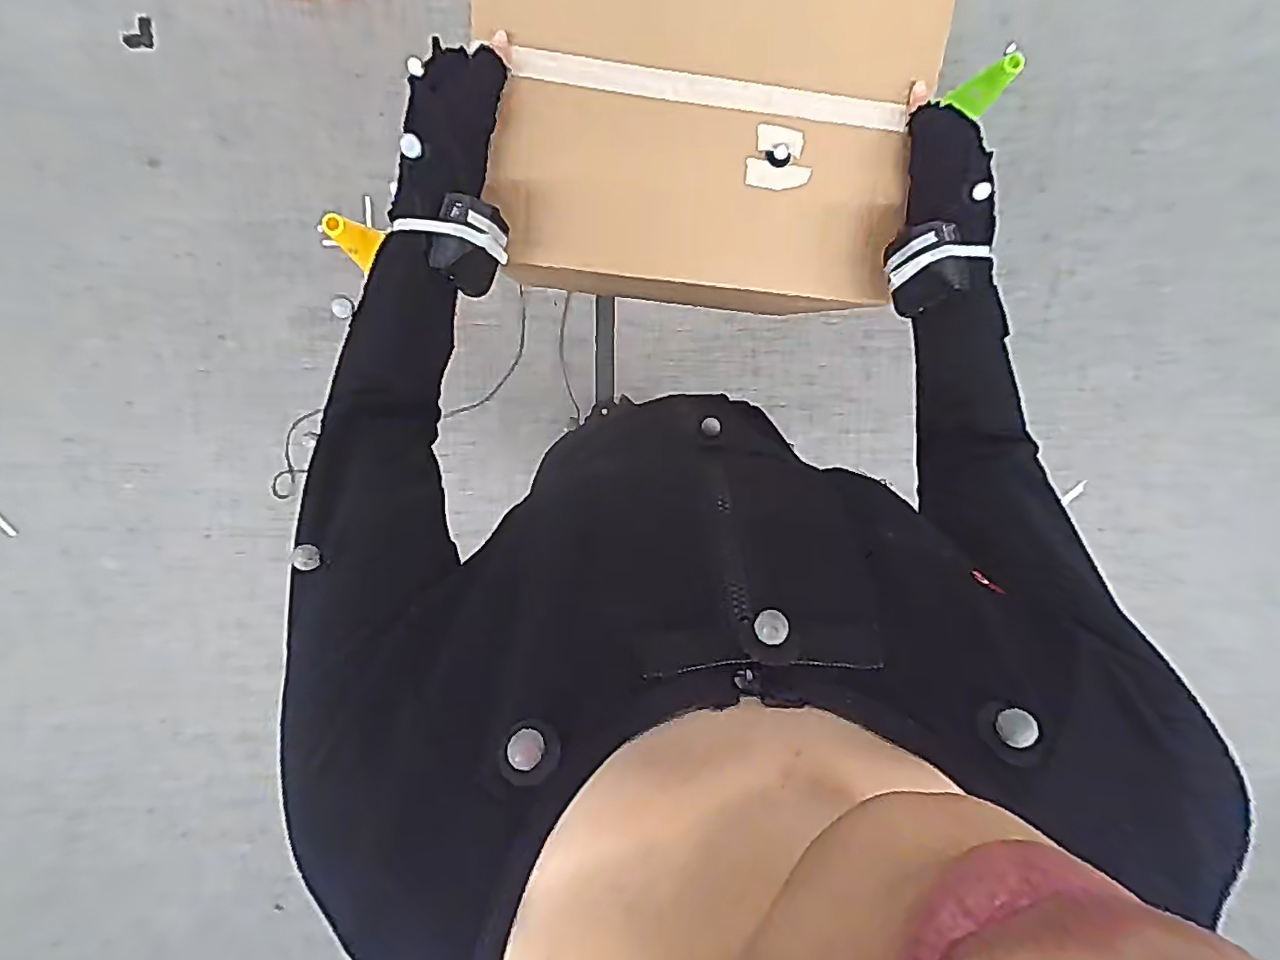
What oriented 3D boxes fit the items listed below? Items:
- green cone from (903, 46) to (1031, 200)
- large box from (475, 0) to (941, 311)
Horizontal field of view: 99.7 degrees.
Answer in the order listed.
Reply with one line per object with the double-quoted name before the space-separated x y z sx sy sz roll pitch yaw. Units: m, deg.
"green cone" 0.723 -0.834 1.220 0.202 0.368 0.200 -37 98 1
"large box" 0.043 -0.377 0.617 0.408 0.320 0.320 4 105 -6
